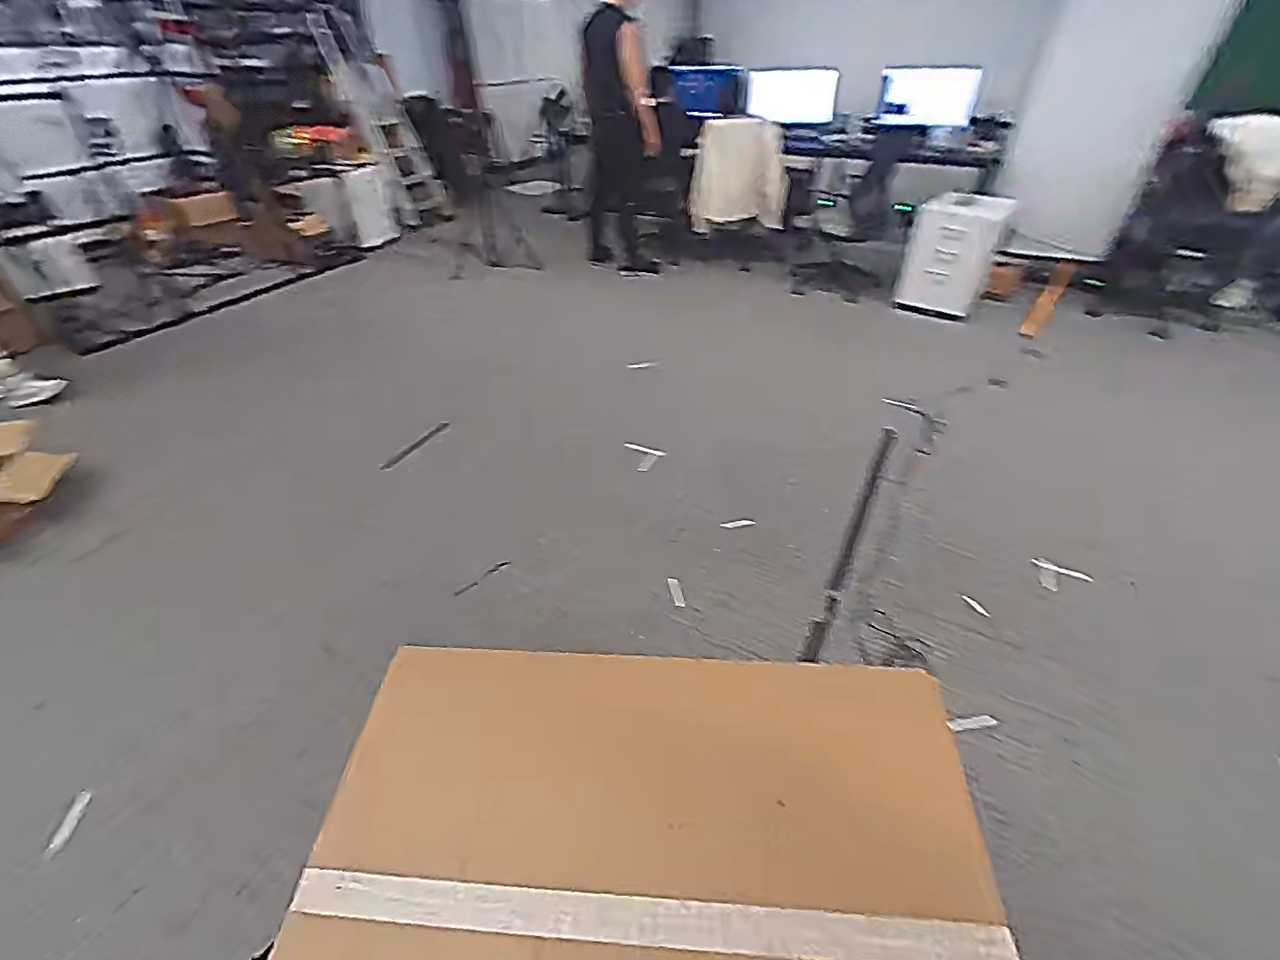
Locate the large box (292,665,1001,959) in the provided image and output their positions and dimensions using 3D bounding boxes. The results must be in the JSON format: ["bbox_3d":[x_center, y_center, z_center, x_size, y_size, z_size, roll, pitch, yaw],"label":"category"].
[{"bbox_3d":[0.011,0.362,0.418,0.408,0.320,0.320,1,46,7],"label":"large box"}]
